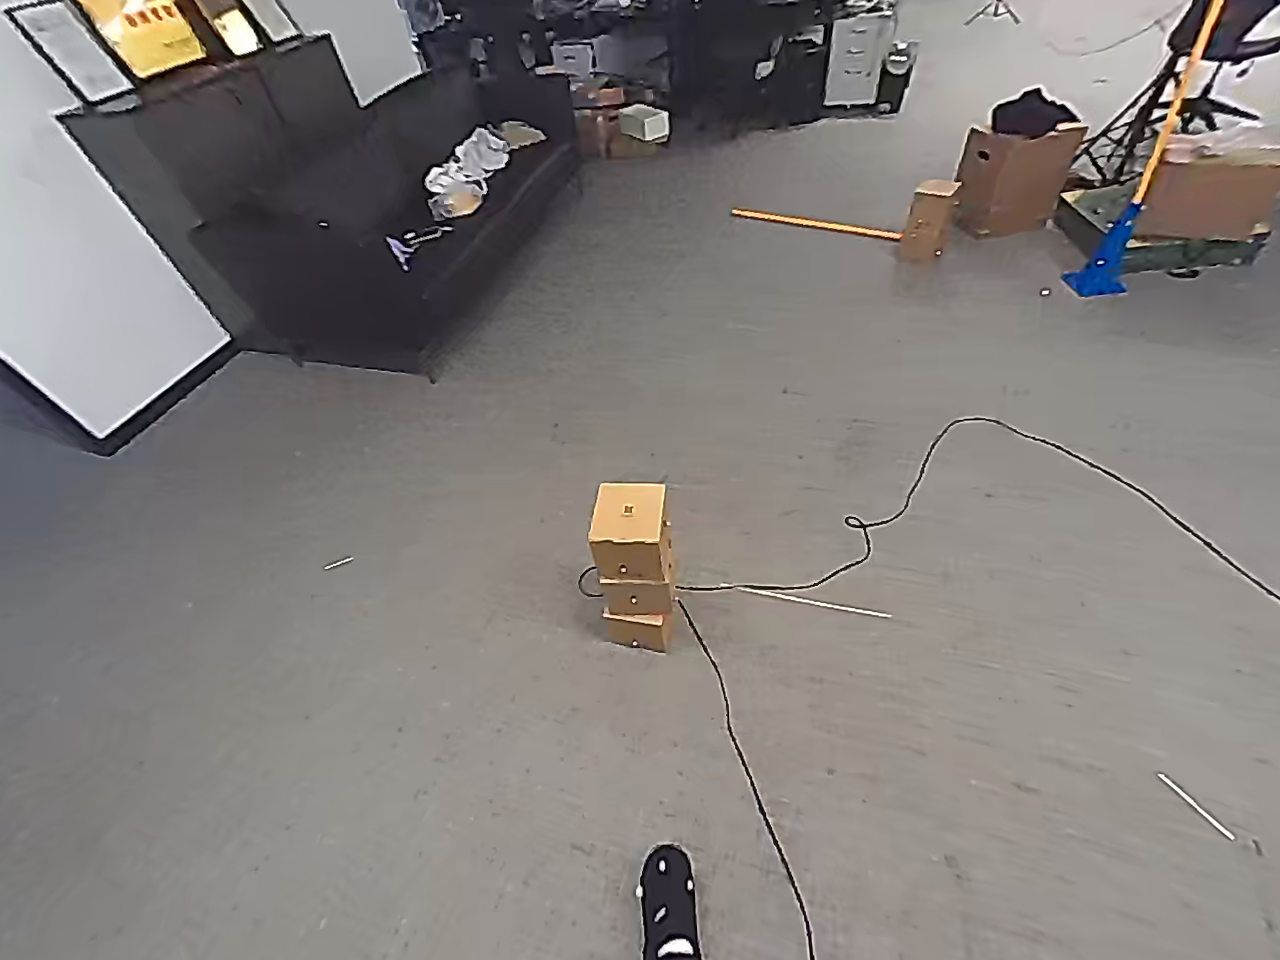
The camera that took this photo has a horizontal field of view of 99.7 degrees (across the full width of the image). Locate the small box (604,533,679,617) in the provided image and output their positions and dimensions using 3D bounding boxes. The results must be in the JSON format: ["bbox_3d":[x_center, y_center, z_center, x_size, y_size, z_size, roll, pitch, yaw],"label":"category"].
[{"bbox_3d":[0.012,0.256,1.453,0.179,0.176,0.168,-4,48,9],"label":"small box"}]

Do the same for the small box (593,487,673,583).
[{"bbox_3d":[-0.009,0.137,1.342,0.168,0.176,0.179,-1,49,10],"label":"small box"}]
